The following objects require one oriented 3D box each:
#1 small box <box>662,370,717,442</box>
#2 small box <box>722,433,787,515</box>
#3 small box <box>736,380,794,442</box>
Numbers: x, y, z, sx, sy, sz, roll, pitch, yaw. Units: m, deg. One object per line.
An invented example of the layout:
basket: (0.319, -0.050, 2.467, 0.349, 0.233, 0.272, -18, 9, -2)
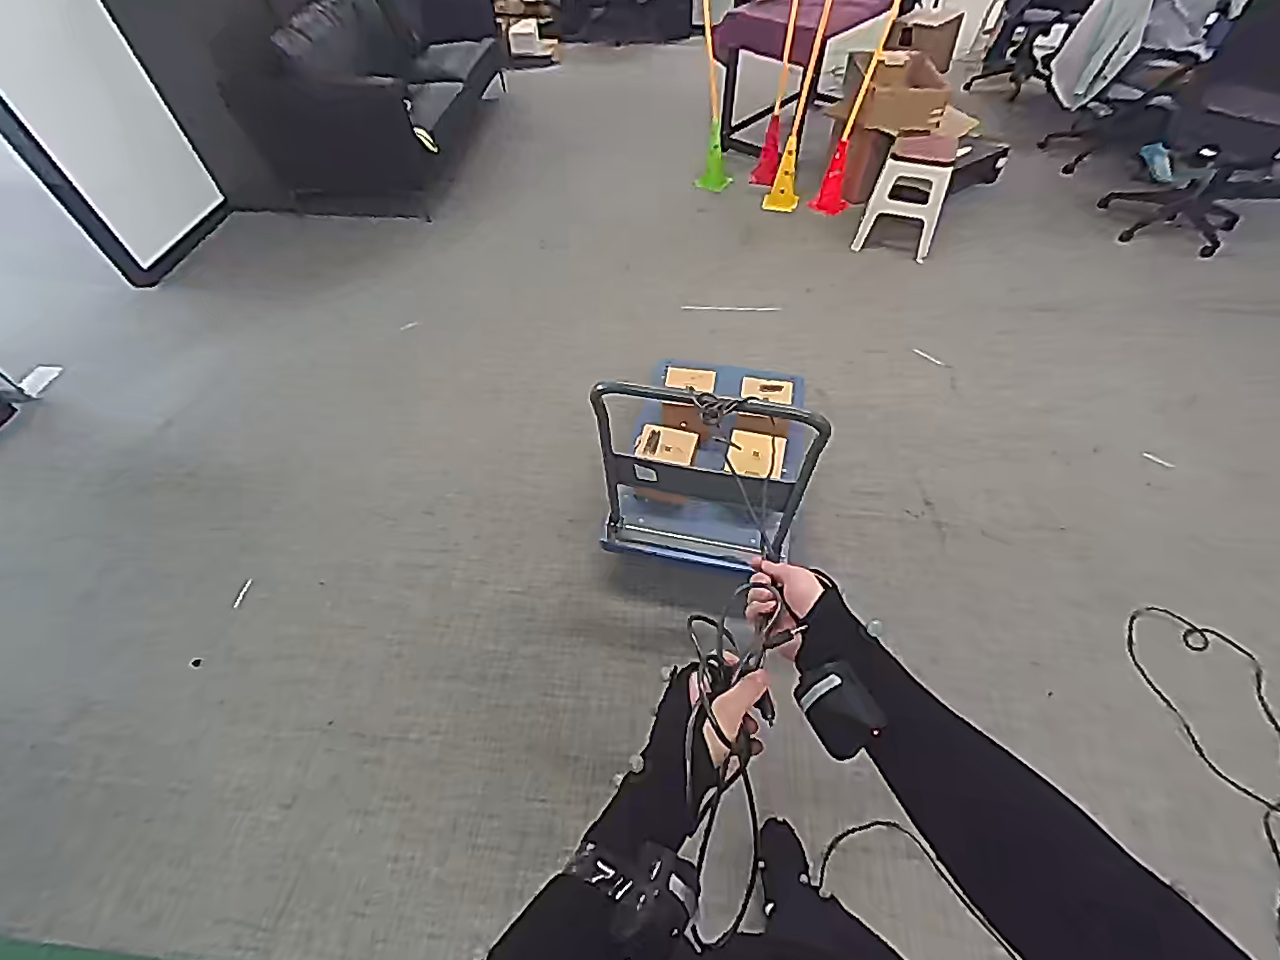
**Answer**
small box: (0.171, -0.253, 1.872, 0.168, 0.176, 0.179, 7, 54, 8)
small box: (0.354, -0.018, 1.688, 0.168, 0.176, 0.179, 11, 55, 11)
small box: (0.419, -0.212, 1.828, 0.168, 0.176, 0.179, 8, 55, 10)
